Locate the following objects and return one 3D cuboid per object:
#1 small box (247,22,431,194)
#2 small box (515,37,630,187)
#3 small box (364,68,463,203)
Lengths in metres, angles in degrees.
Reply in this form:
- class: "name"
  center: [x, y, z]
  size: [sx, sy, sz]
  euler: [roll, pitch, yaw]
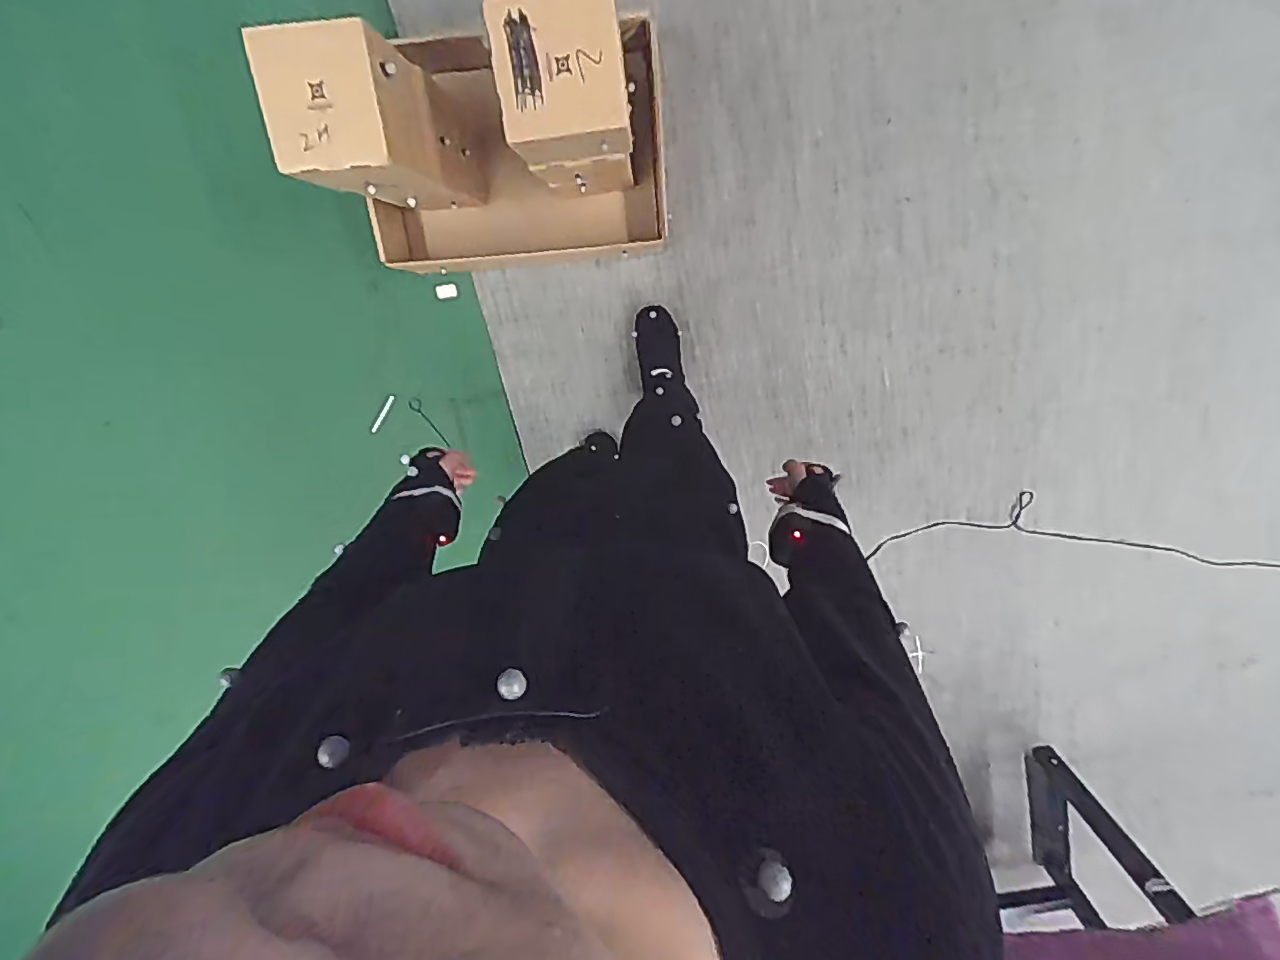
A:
- class: "small box"
  center: [-0.439, -0.549, 0.821]
  size: [0.168, 0.176, 0.179]
  euler: [-3, 111, 2]
- class: "small box"
  center: [-0.109, -0.636, 0.954]
  size: [0.168, 0.176, 0.179]
  euler: [-4, 111, 4]
- class: "small box"
  center: [-0.433, -0.609, 0.975]
  size: [0.168, 0.176, 0.179]
  euler: [-1, 111, 1]
